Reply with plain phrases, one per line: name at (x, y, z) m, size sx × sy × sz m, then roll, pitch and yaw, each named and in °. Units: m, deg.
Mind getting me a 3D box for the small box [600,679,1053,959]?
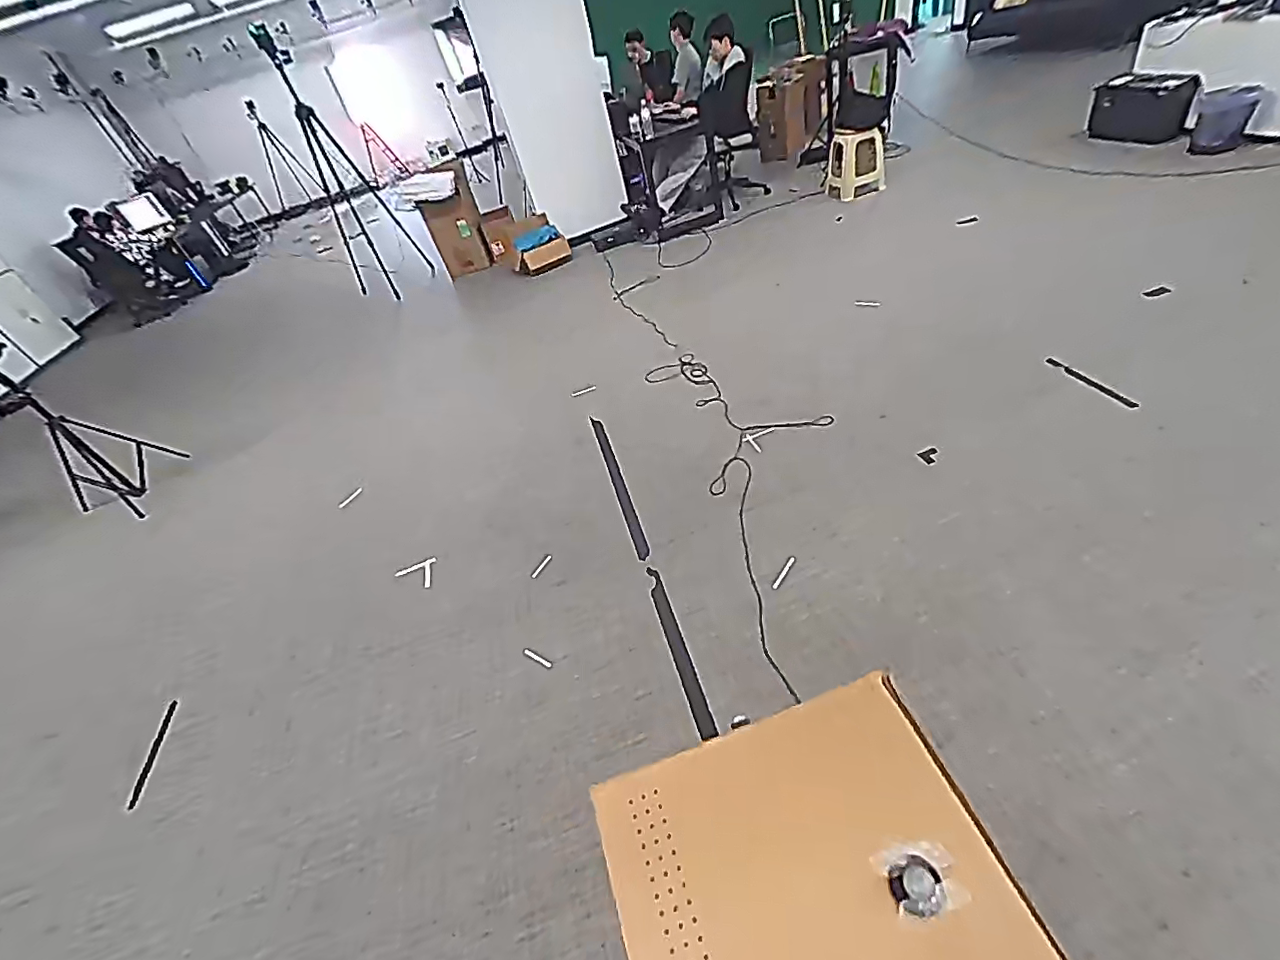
small box at (0.087, 0.245, 0.295) m, size 0.176 × 0.168 × 0.179 m, roll -20°, pitch 51°, yaw -4°
